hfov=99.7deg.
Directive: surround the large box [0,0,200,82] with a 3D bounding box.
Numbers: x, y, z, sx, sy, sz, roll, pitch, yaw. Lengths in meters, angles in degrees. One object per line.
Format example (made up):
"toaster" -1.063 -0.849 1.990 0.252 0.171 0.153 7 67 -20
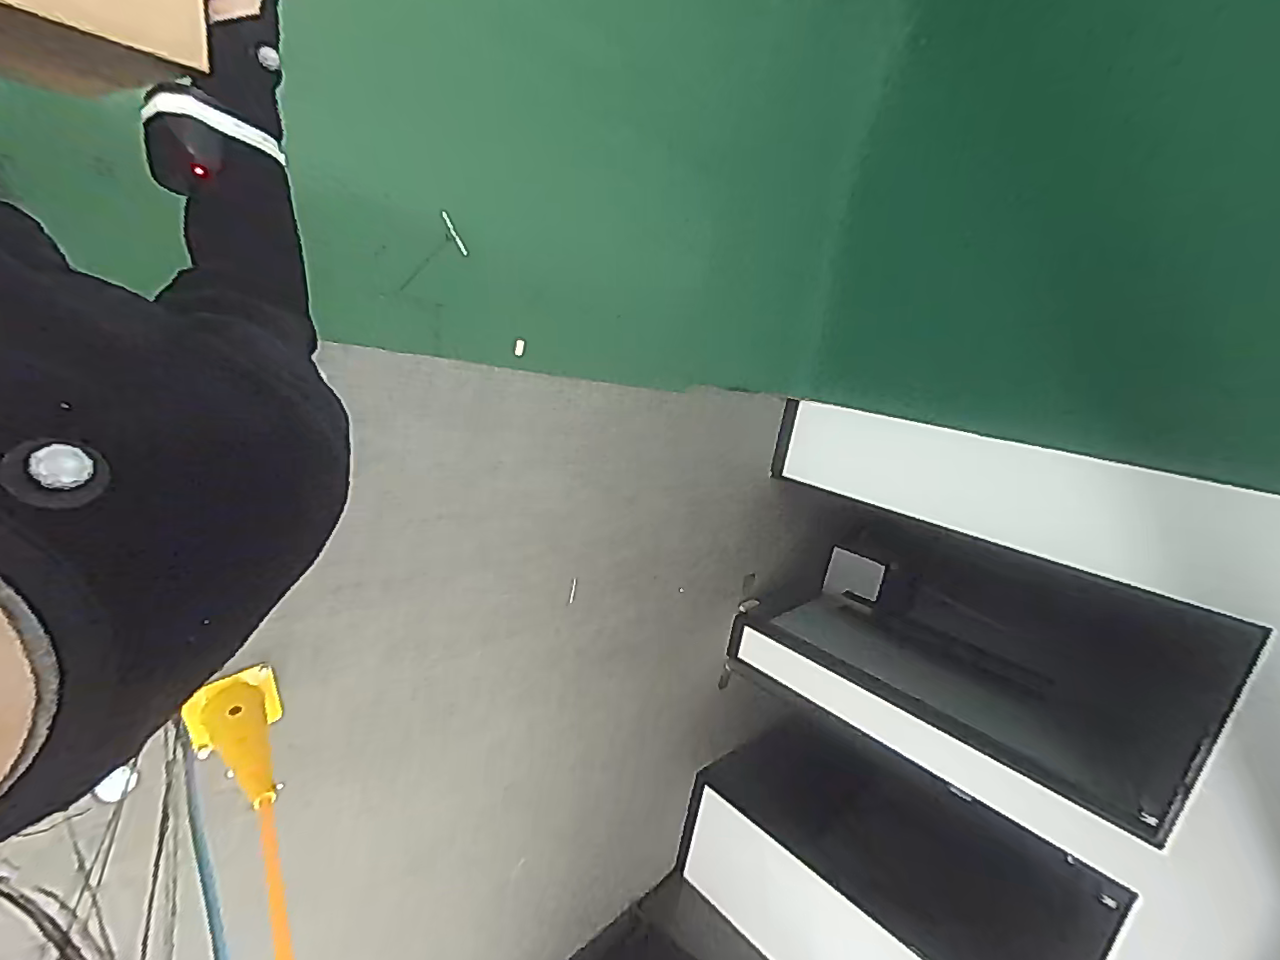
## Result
"large box" -0.548 -0.463 0.282 0.408 0.320 0.320 -19 122 -53
